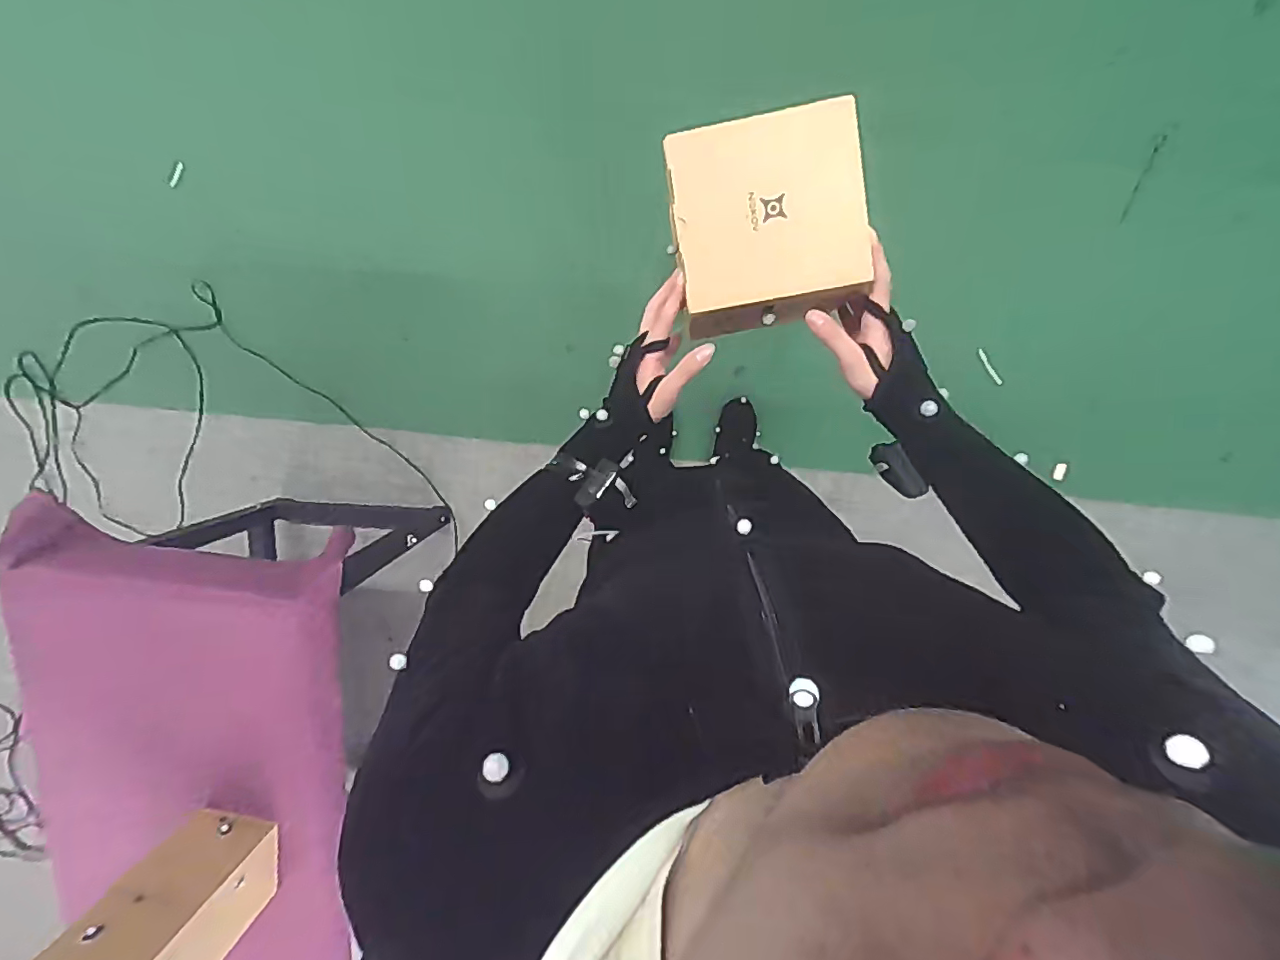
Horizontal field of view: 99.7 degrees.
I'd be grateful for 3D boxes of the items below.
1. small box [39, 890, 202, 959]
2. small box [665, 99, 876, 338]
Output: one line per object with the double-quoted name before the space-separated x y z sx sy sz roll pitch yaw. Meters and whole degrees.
"small box" -0.846 0.808 0.863 0.168 0.176 0.179 10 100 3
"small box" 0.128 -0.256 0.574 0.179 0.176 0.168 -9 96 8
